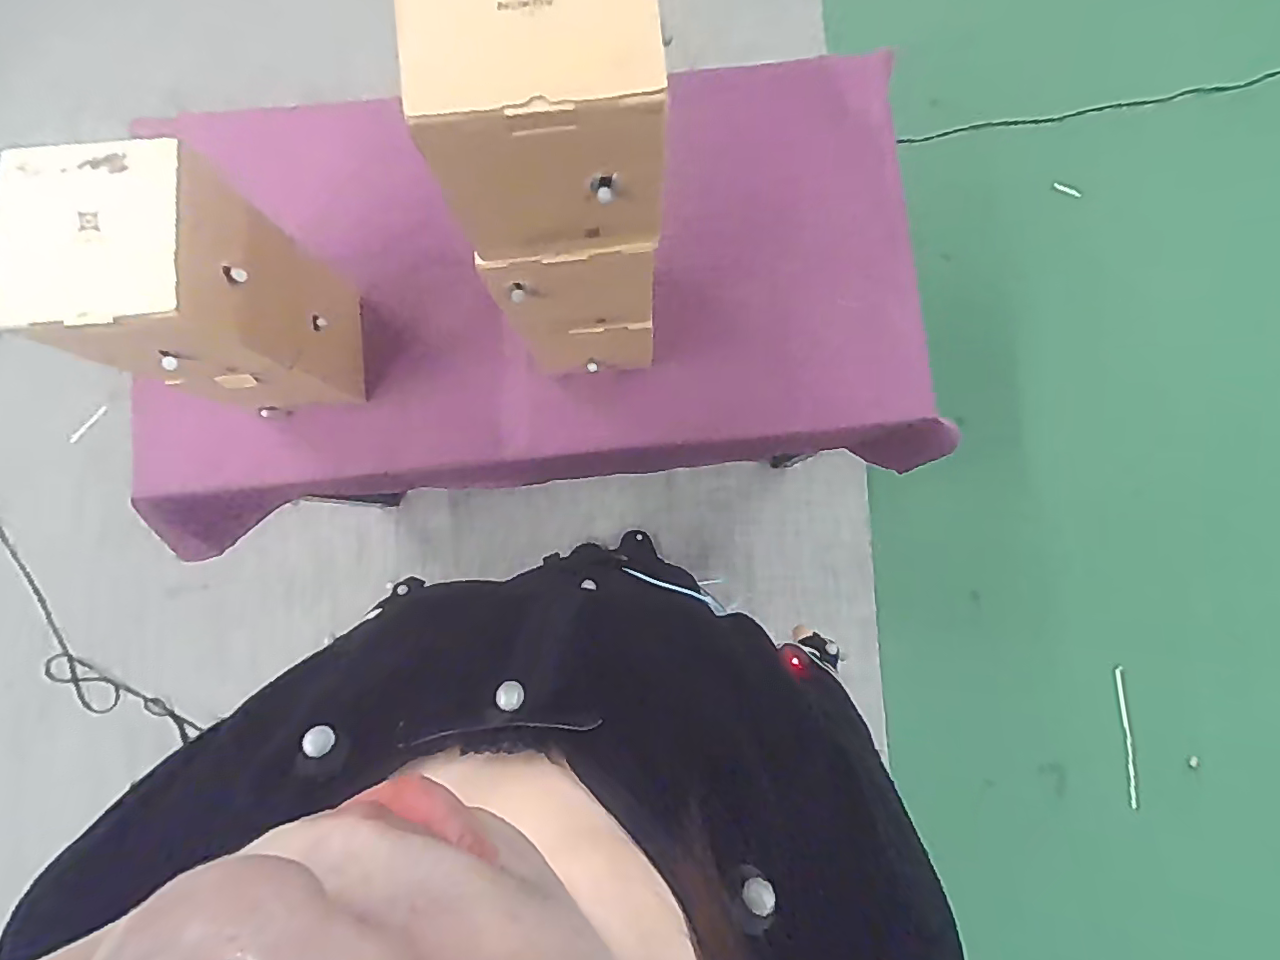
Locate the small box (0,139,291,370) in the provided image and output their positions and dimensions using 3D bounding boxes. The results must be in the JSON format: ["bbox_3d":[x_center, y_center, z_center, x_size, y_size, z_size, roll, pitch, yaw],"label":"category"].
[{"bbox_3d":[-0.504,-0.222,0.577,0.168,0.176,0.179,-4,85,-2],"label":"small box"}]

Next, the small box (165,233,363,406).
[{"bbox_3d":[-0.501,-0.205,0.741,0.168,0.176,0.179,-6,84,-1],"label":"small box"}]

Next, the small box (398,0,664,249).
[{"bbox_3d":[-0.072,-0.301,0.423,0.168,0.176,0.179,-6,84,-2],"label":"small box"}]

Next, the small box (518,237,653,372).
[{"bbox_3d":[-0.071,-0.261,0.748,0.168,0.176,0.179,-3,85,0],"label":"small box"}]
